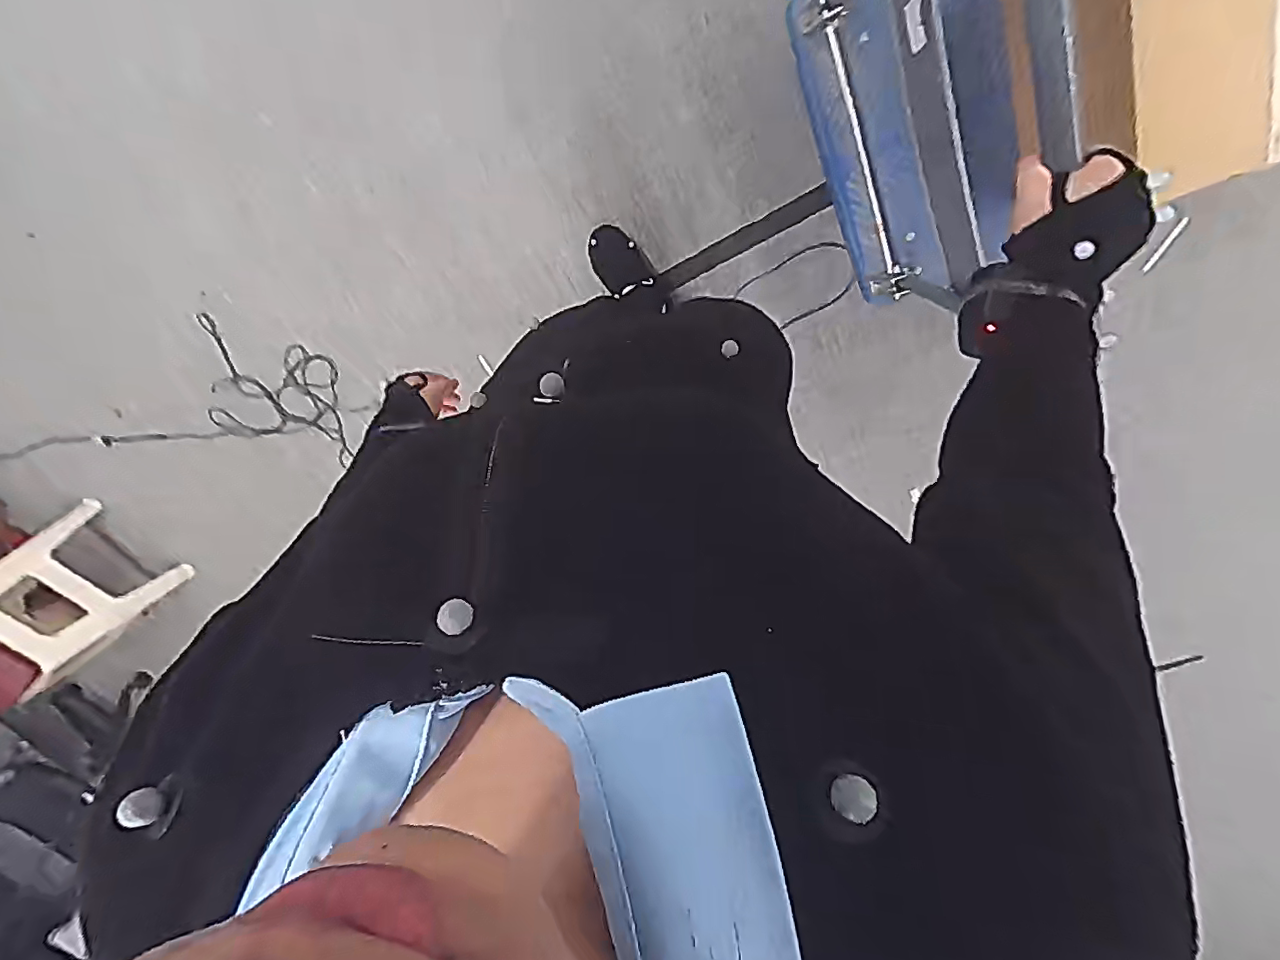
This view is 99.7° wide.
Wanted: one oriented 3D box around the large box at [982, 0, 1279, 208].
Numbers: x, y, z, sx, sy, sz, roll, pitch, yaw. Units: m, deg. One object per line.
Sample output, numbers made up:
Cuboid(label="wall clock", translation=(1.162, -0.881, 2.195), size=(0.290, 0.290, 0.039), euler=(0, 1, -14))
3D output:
Cuboid(label="large box", translation=(0.773, -0.684, 0.814), size=(0.320, 0.320, 0.408), euler=(-21, 114, 15))
